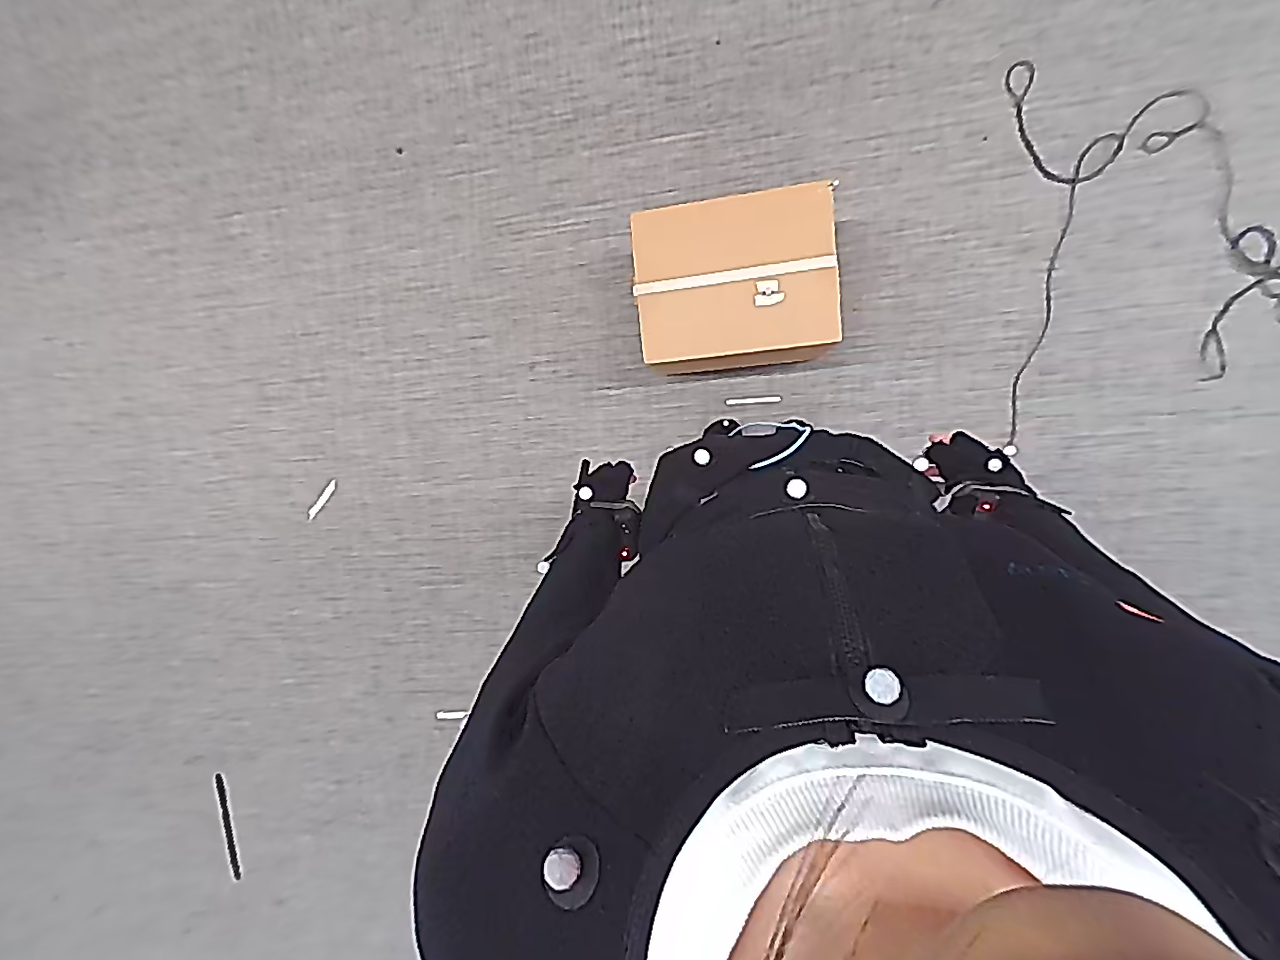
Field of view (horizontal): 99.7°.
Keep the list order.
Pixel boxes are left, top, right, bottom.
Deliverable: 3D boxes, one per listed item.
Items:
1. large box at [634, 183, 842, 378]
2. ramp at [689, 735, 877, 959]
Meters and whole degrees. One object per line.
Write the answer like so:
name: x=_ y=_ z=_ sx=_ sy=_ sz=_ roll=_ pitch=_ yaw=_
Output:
large box: x=0.219 y=-0.428 z=1.252 sx=0.408 sy=0.320 sz=0.320 roll=-5 pitch=96 yaw=10
ramp: x=0.379 y=1.217 z=1.459 sx=0.509 sy=0.206 sz=0.991 roll=-2 pitch=95 yaw=12
